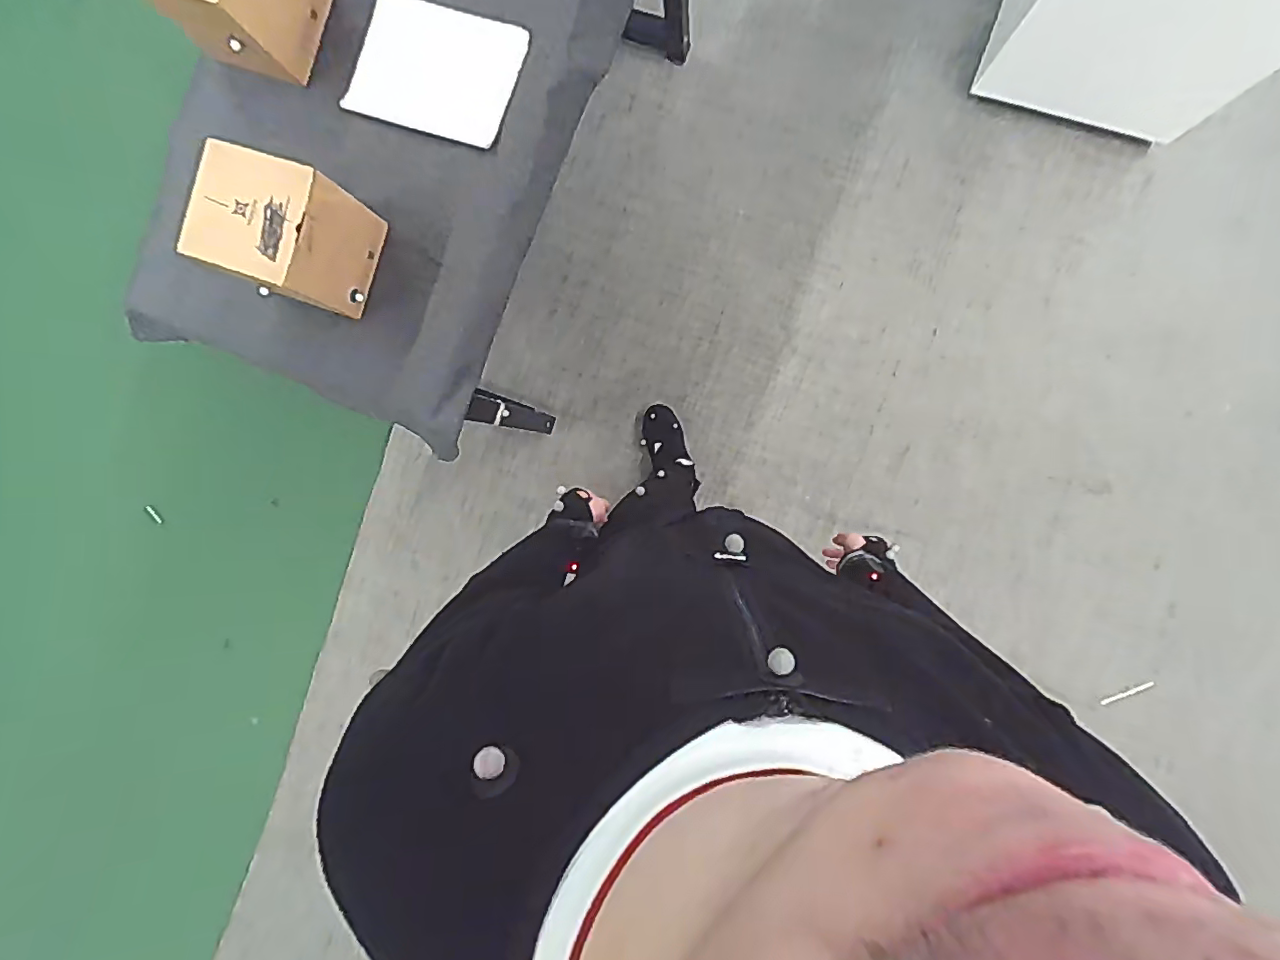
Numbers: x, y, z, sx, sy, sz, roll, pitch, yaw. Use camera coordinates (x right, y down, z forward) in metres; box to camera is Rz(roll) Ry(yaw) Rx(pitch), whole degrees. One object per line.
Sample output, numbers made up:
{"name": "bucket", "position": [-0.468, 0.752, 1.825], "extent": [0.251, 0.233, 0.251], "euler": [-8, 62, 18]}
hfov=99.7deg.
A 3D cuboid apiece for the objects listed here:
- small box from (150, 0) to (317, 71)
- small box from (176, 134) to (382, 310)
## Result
{"name": "small box", "position": [-0.617, -0.756, 0.799], "extent": [0.179, 0.176, 0.168], "euler": [20, 93, 6]}
{"name": "small box", "position": [-0.529, -0.373, 0.817], "extent": [0.179, 0.176, 0.168], "euler": [19, 93, 5]}
